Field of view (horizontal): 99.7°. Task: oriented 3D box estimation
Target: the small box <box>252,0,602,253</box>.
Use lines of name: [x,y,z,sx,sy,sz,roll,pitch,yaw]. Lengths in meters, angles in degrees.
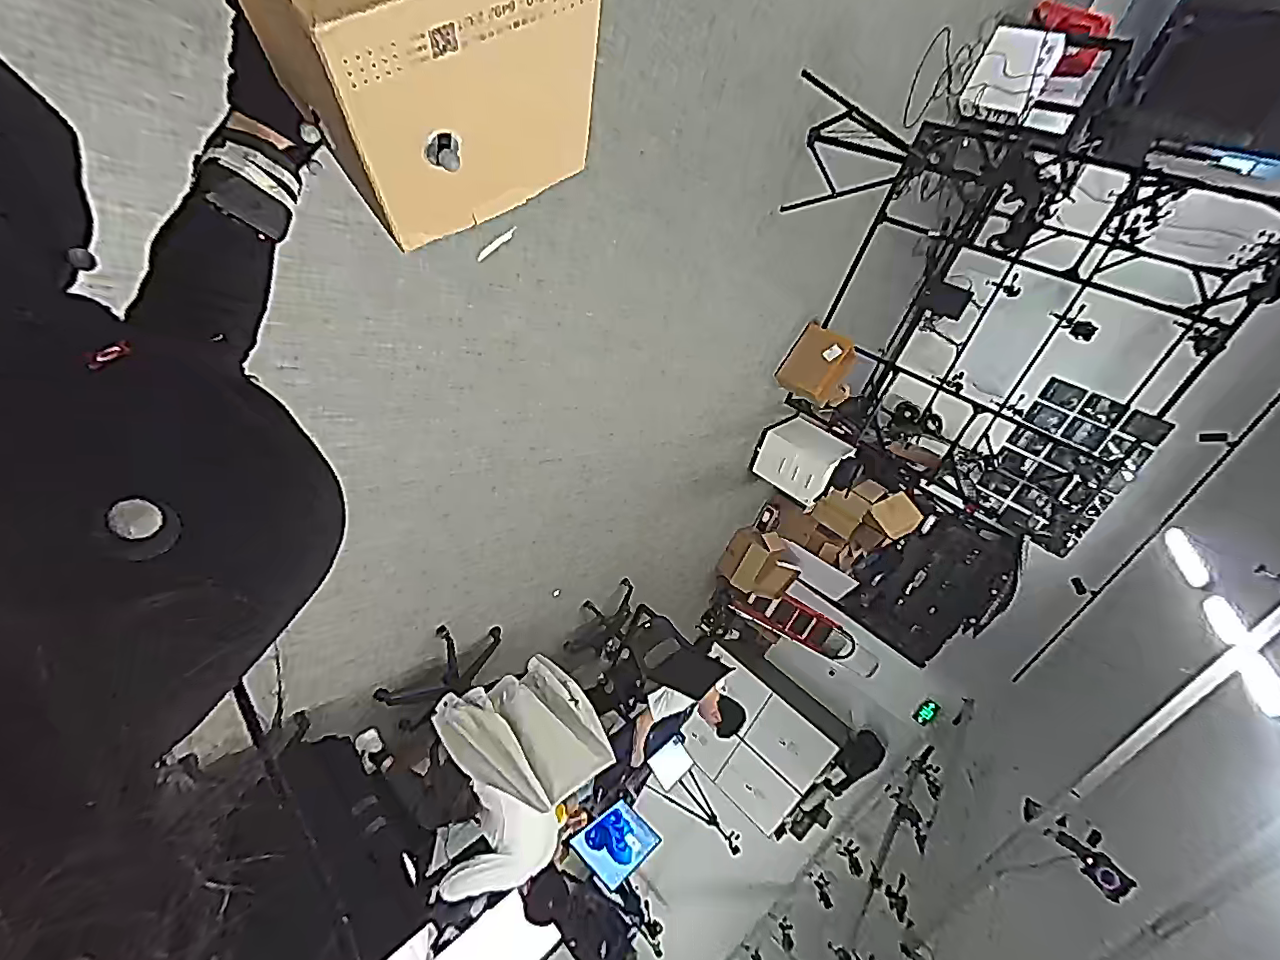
small box: [-0.138,-0.294,0.345,0.168,0.179,0.176,-34,175,-18]
